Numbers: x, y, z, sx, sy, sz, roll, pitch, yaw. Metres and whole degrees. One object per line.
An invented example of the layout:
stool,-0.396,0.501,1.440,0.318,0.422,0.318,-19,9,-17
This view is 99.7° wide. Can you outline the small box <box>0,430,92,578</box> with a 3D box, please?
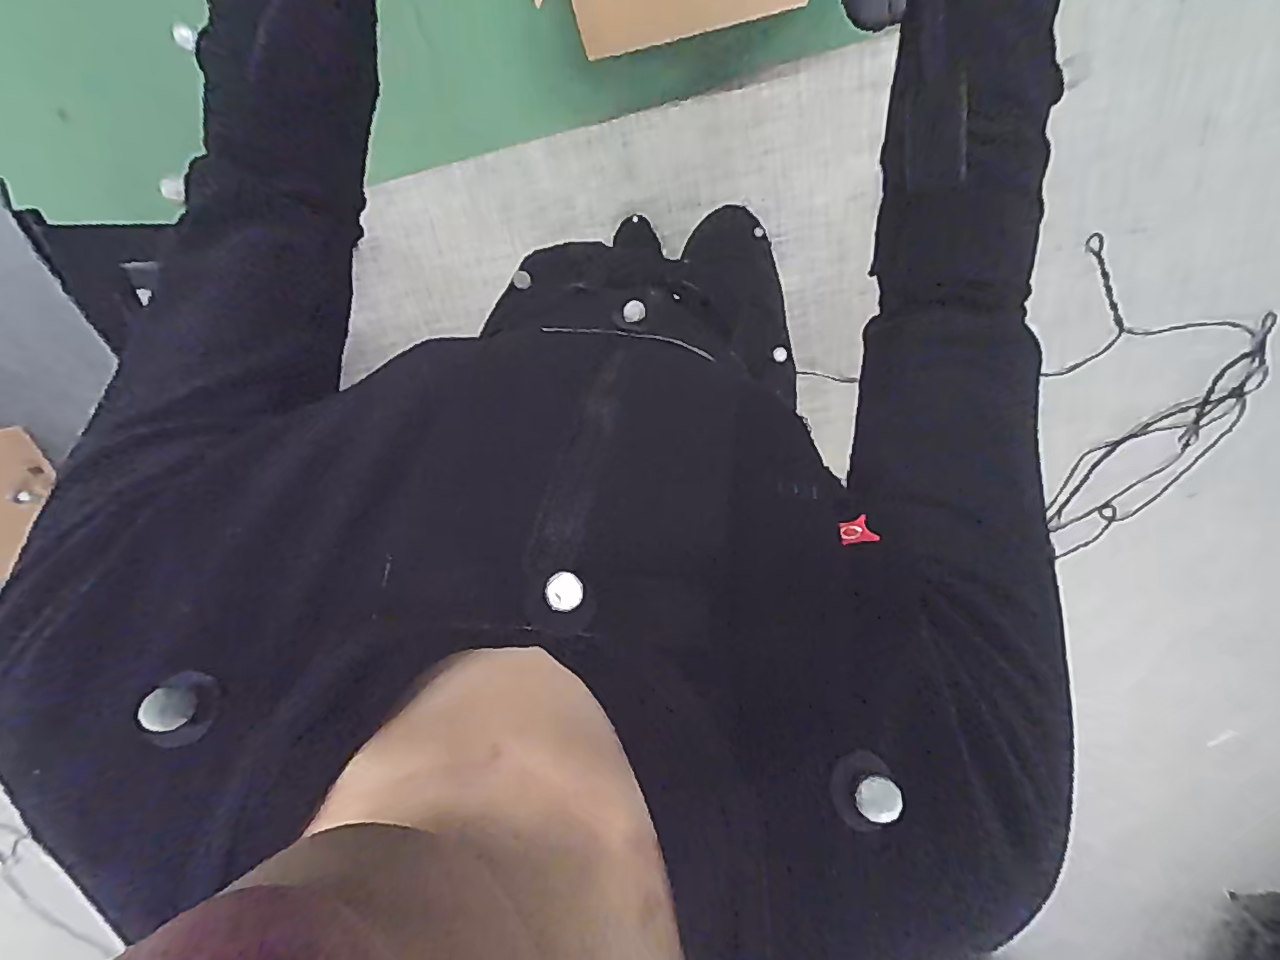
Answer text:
small box,-0.900,0.048,0.702,0.179,0.176,0.168,-10,114,7
